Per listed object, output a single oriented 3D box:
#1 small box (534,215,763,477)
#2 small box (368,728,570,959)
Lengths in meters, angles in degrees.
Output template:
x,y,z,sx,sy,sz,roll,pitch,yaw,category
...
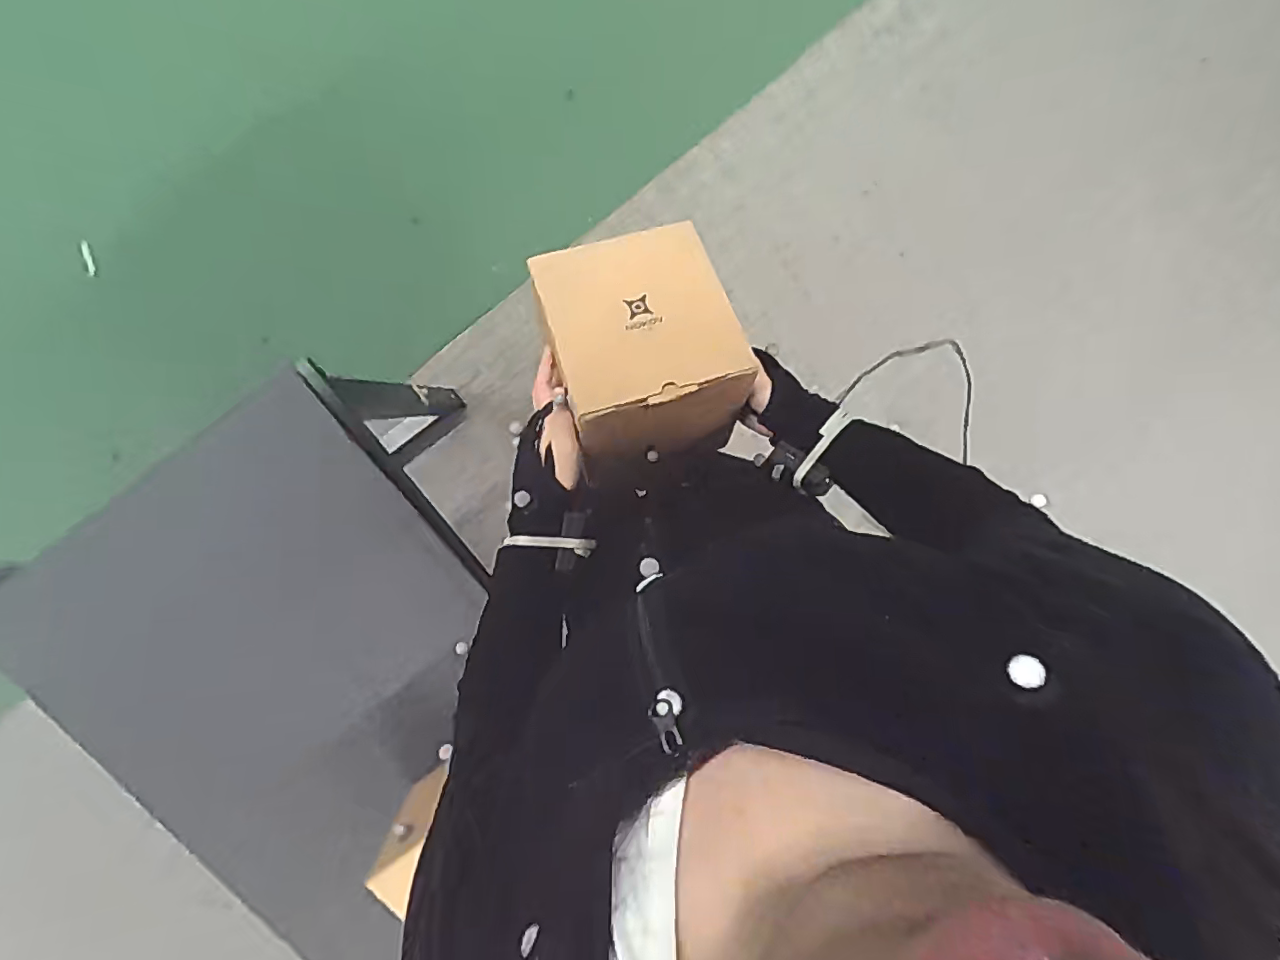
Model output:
x,y,z,sx,sy,sz,roll,pitch,yaw,category
-0.001,-0.126,0.550,0.168,0.176,0.179,-16,71,-8,small box
-0.209,0.480,0.722,0.179,0.176,0.168,-38,99,2,small box
